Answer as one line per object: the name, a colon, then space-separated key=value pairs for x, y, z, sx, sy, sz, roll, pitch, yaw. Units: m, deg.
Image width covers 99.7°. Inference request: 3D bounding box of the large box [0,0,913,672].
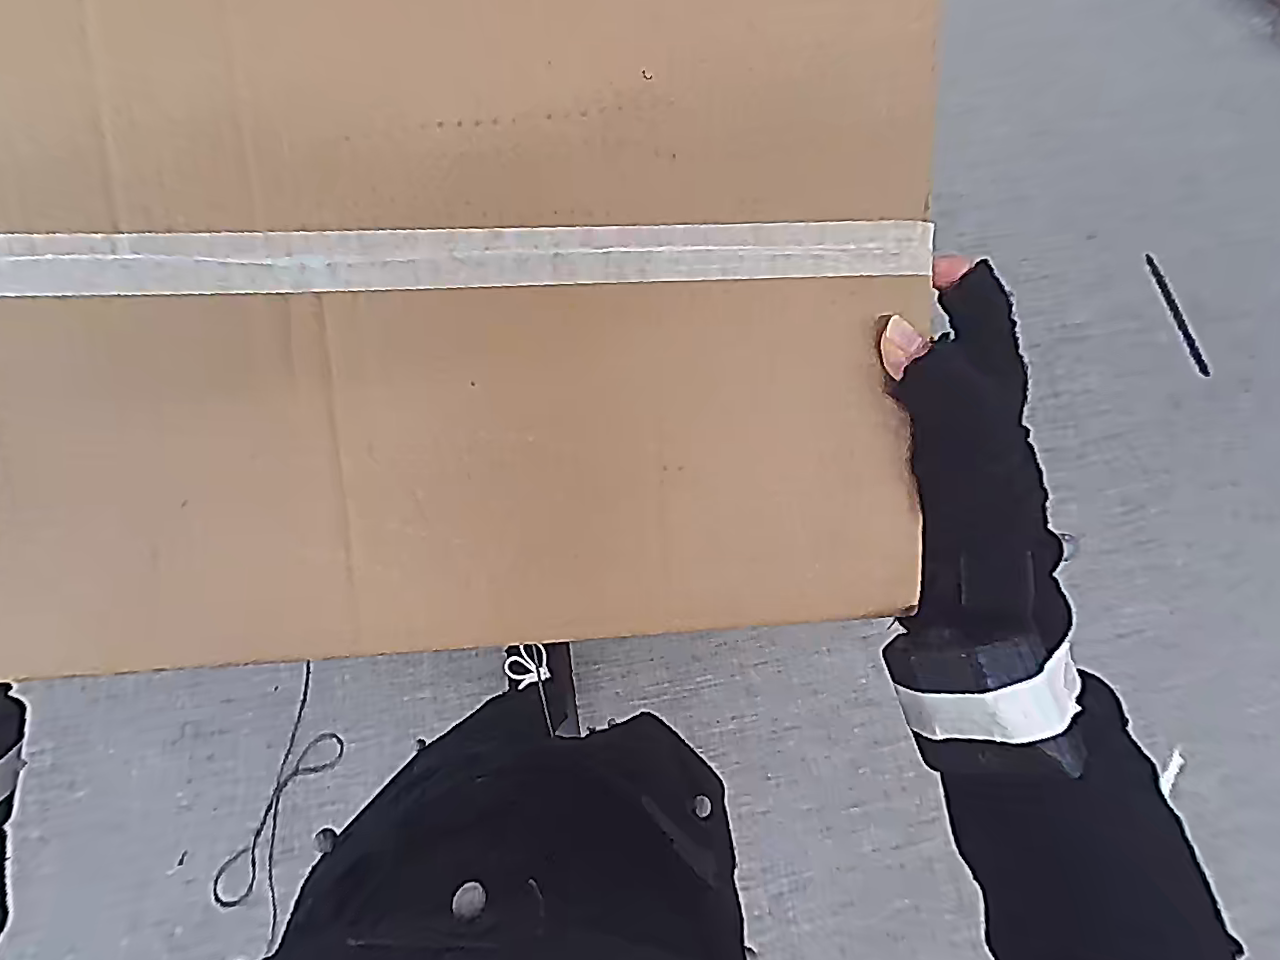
large box: x=-0.095 y=-0.104 z=0.365 sx=0.408 sy=0.320 sz=0.320 roll=-3 pitch=98 yaw=-5
